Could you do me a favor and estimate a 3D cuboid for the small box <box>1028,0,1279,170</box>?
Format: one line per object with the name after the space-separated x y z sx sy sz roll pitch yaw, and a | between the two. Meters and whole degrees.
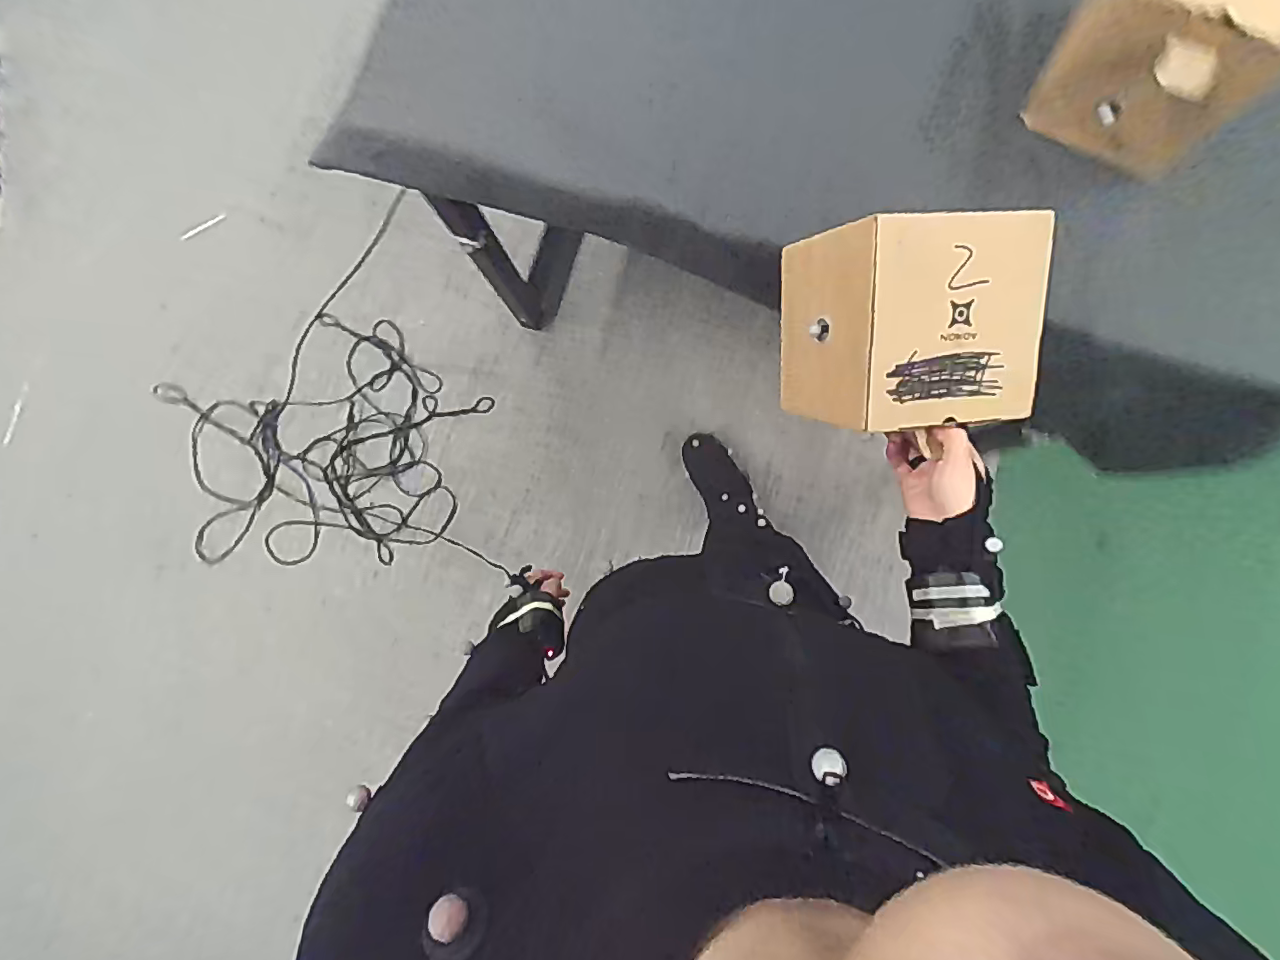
0.563 -0.480 0.569 0.168 0.176 0.179 28 87 6 | small box
